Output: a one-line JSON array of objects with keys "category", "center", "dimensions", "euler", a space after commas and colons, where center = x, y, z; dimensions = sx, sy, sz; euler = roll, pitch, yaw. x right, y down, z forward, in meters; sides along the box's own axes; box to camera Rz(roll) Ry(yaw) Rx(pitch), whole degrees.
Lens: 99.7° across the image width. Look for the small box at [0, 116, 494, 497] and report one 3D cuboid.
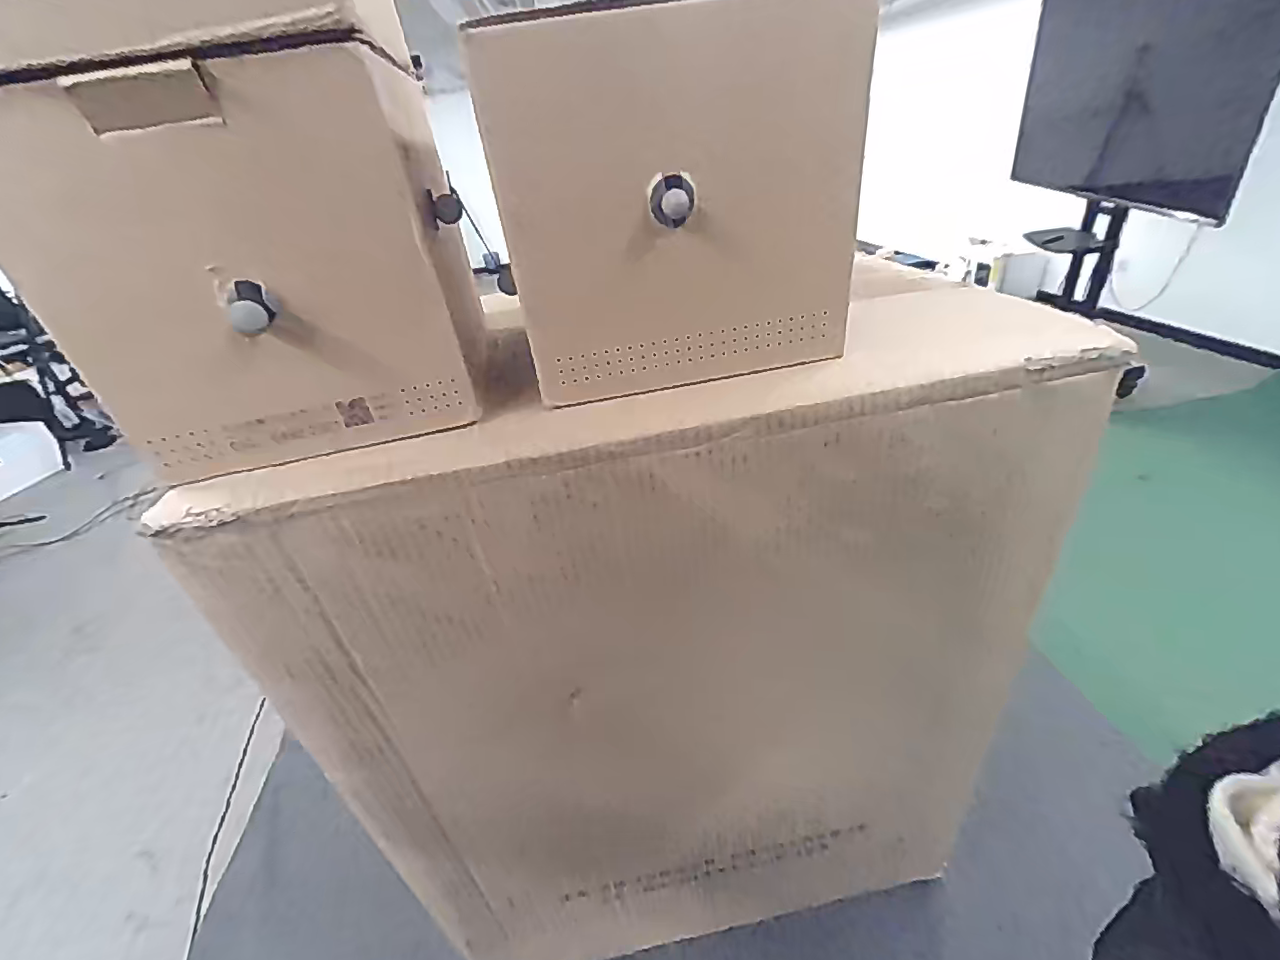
[{"category": "small box", "center": [-0.194, -0.106, 0.331], "dimensions": [0.168, 0.176, 0.179], "euler": [-15, 34, -8]}]
